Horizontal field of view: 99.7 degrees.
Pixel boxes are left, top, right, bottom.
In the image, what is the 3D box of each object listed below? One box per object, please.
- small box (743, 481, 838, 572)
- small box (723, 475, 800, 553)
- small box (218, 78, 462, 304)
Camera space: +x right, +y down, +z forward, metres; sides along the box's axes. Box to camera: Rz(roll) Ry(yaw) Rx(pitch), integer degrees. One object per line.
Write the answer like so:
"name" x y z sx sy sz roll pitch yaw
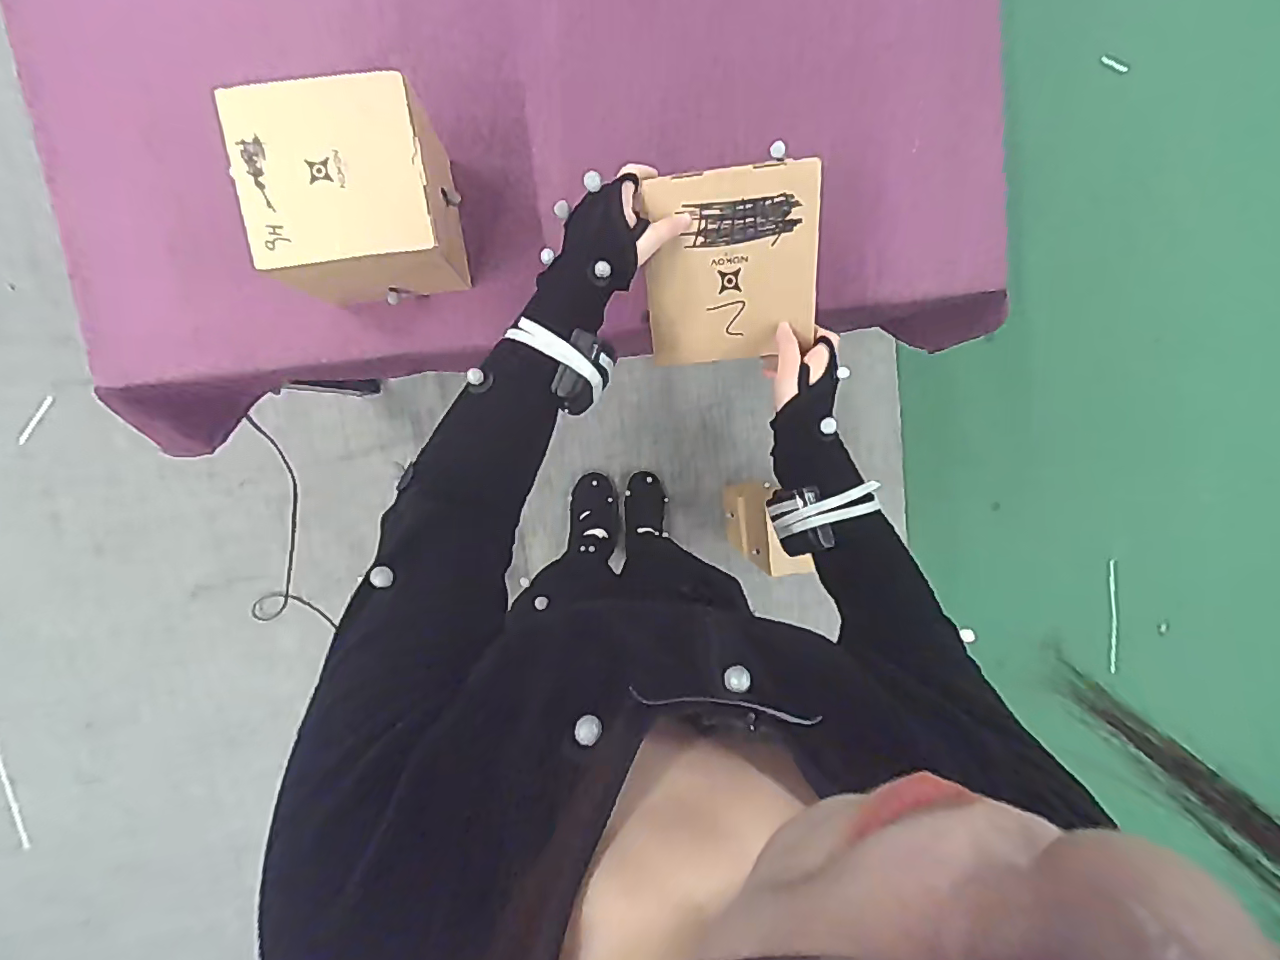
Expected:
"small box" 0.354 0.104 1.292 0.168 0.176 0.179 -7 97 -7
"small box" 0.327 0.087 1.452 0.179 0.176 0.168 -10 98 -5
"small box" -0.306 -0.303 0.599 0.179 0.176 0.168 -10 97 -6
